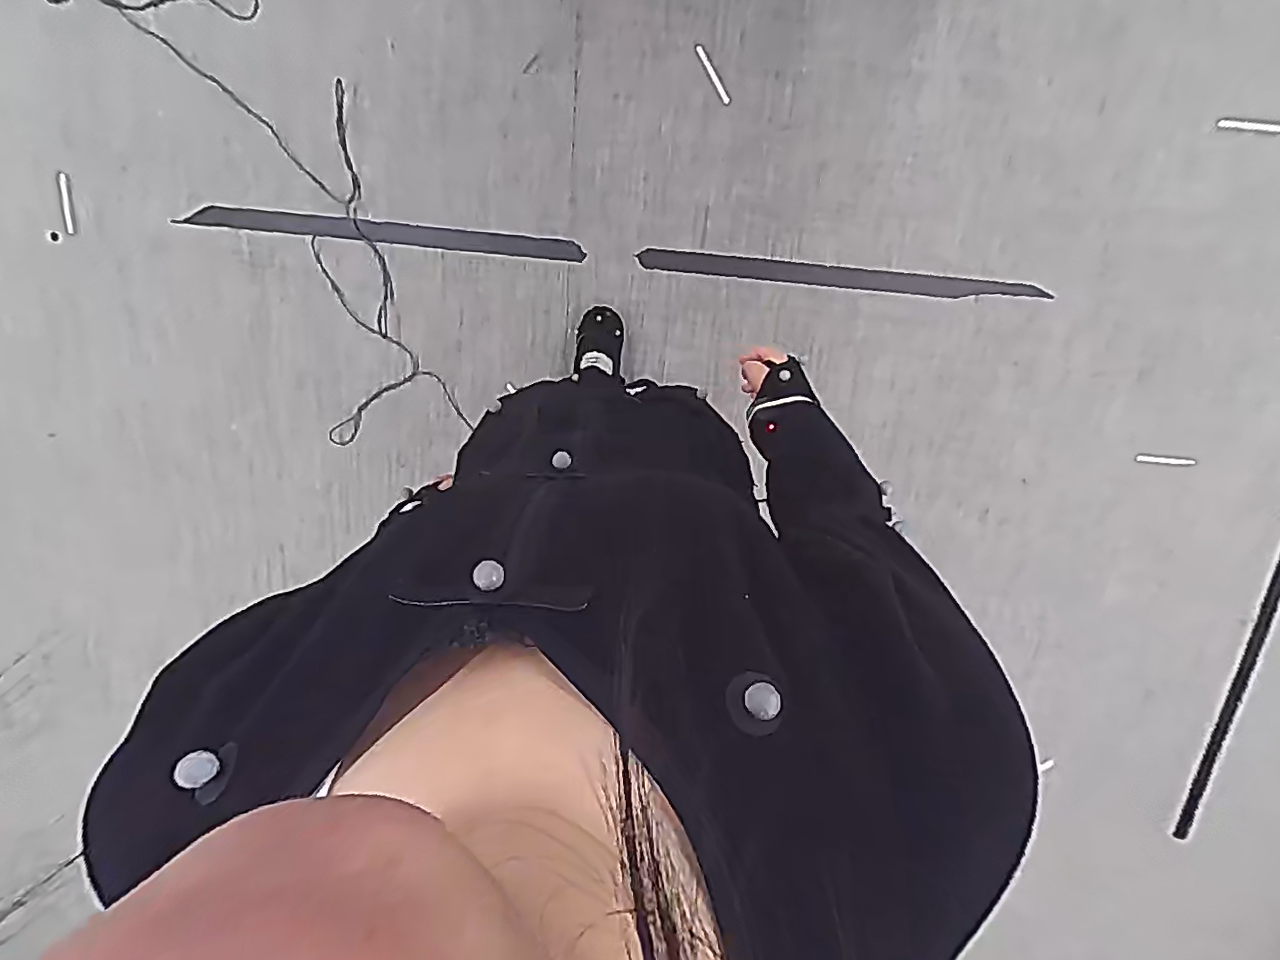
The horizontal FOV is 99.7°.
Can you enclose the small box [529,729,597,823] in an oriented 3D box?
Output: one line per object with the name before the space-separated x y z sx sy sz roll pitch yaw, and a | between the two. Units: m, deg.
small box | -0.220 0.866 1.591 0.168 0.176 0.179 -4 103 1
